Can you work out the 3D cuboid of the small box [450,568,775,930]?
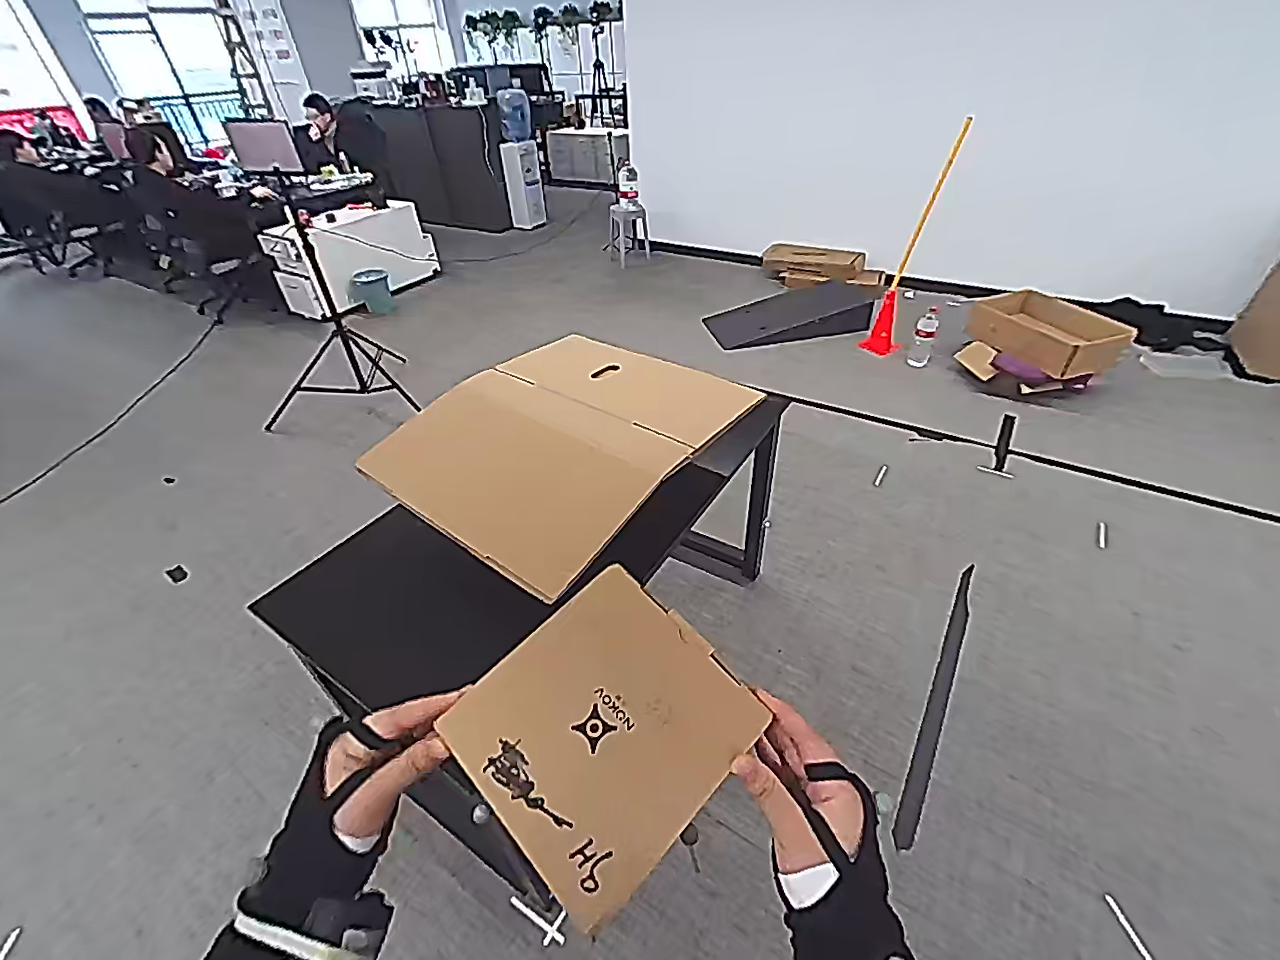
[{"bbox_3d":[-0.020,0.213,0.448,0.168,0.176,0.179,39,64,24],"label":"small box"}]
